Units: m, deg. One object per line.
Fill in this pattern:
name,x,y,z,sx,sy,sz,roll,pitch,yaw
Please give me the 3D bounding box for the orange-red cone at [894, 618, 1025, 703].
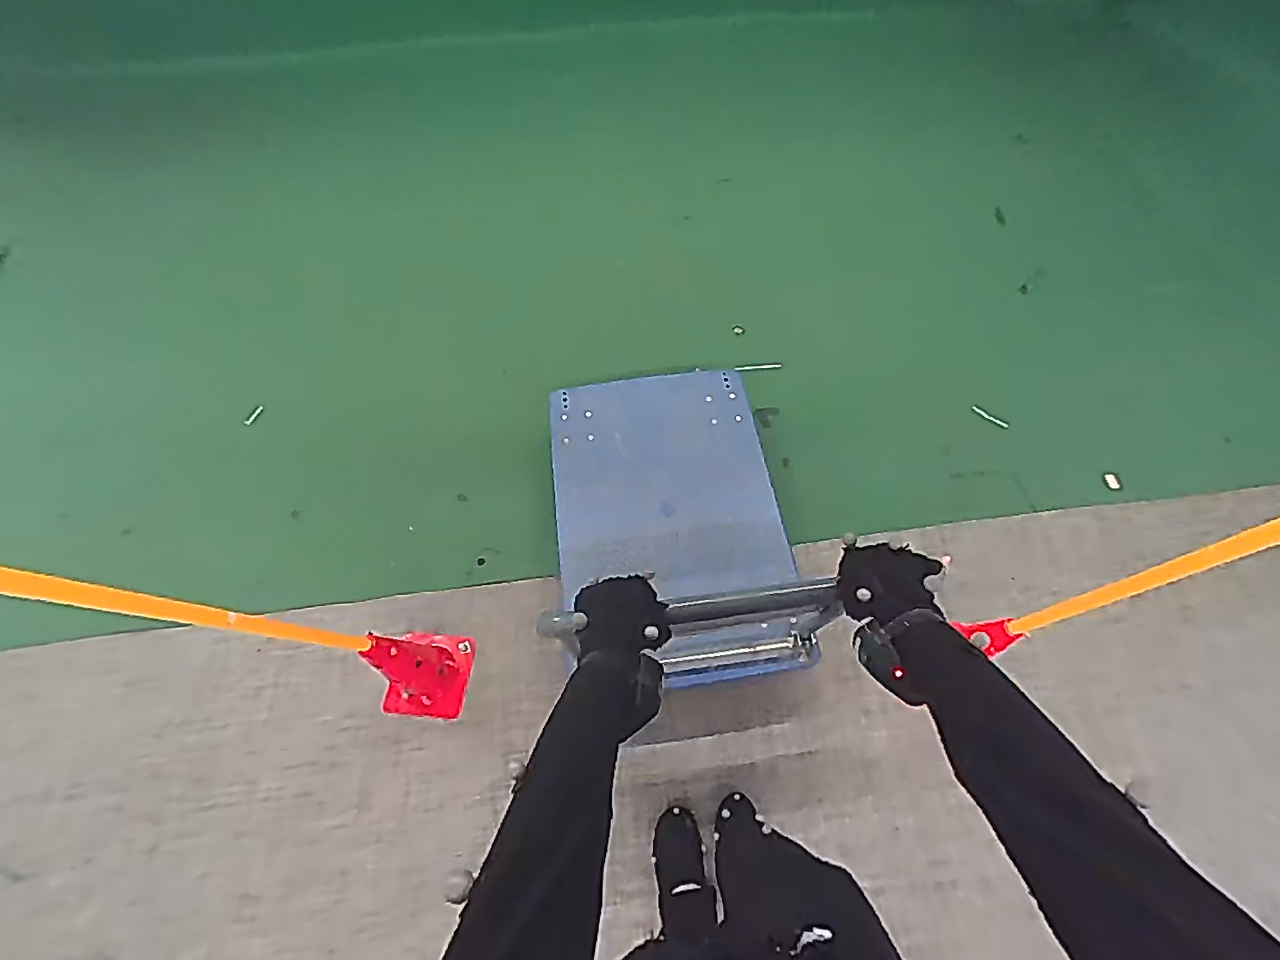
orange-red cone,0.752,0.378,1.226,0.198,0.360,0.199,3,62,3
